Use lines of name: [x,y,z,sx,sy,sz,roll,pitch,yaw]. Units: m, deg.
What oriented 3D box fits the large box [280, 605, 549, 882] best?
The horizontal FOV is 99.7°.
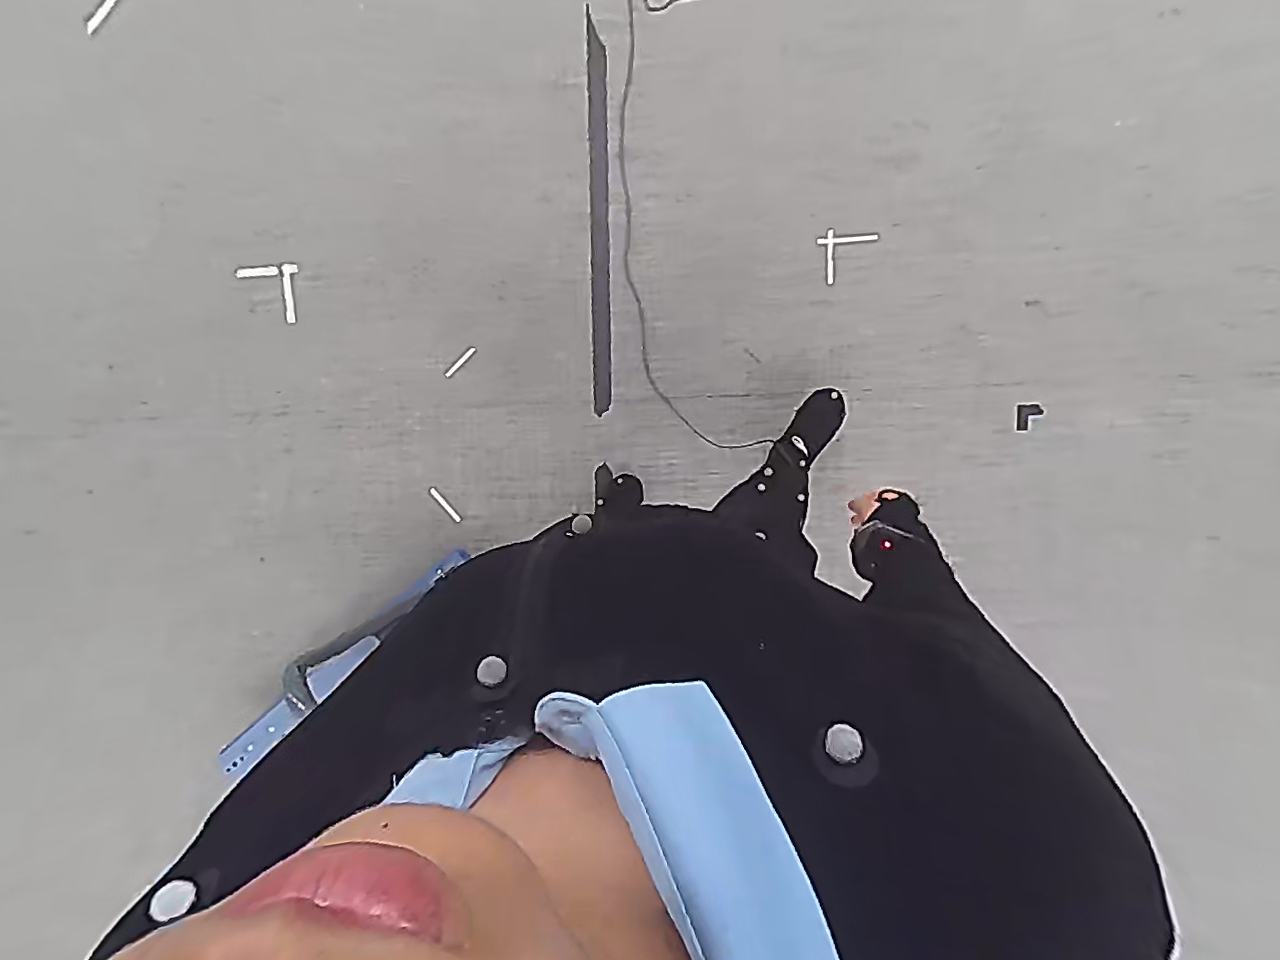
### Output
large box: [-0.474,0.564,1.226,0.320,0.320,0.408,-41,91,4]
